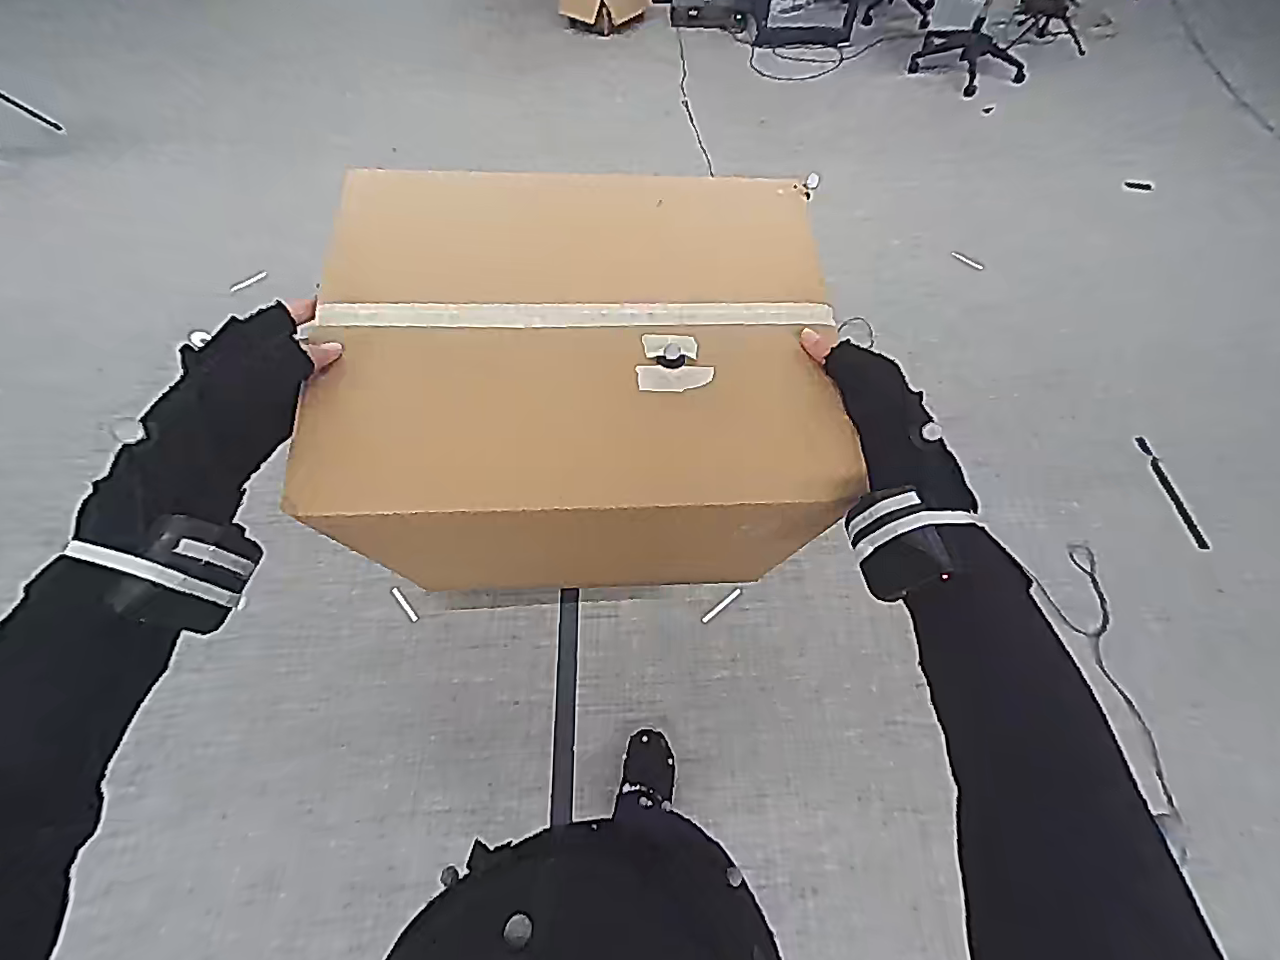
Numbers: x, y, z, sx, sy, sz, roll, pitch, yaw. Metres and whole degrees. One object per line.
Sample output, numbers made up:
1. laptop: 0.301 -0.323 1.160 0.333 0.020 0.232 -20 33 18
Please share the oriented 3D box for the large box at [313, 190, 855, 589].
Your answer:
1. large box: -0.052 -0.071 0.584 0.408 0.320 0.320 -1 69 -4
